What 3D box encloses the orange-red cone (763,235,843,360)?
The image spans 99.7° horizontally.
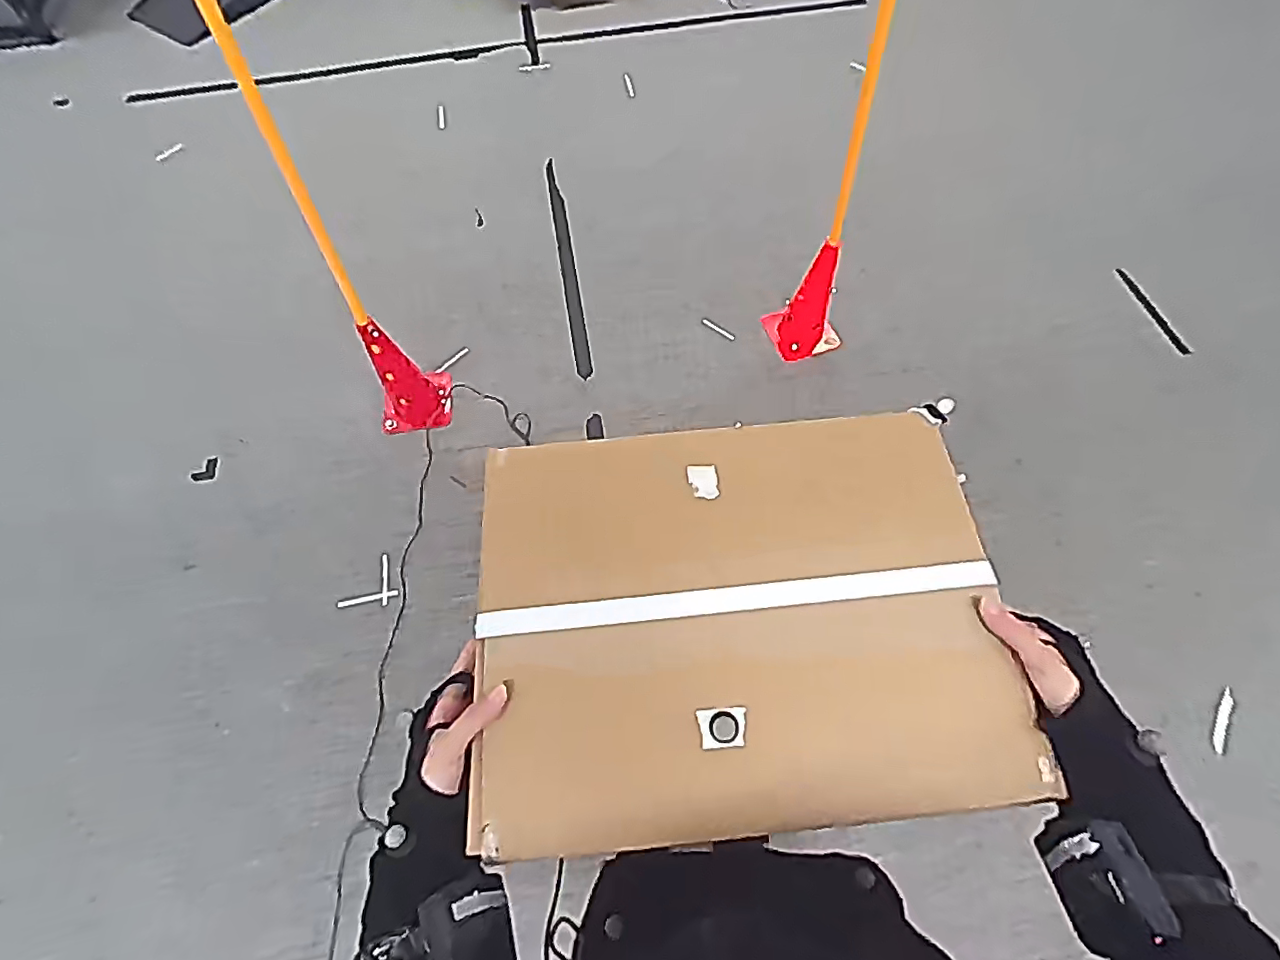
[{"bbox_3d":[0.510,-0.548,1.558,0.199,0.360,0.198,-18,67,-8],"label":"orange-red cone"}]
